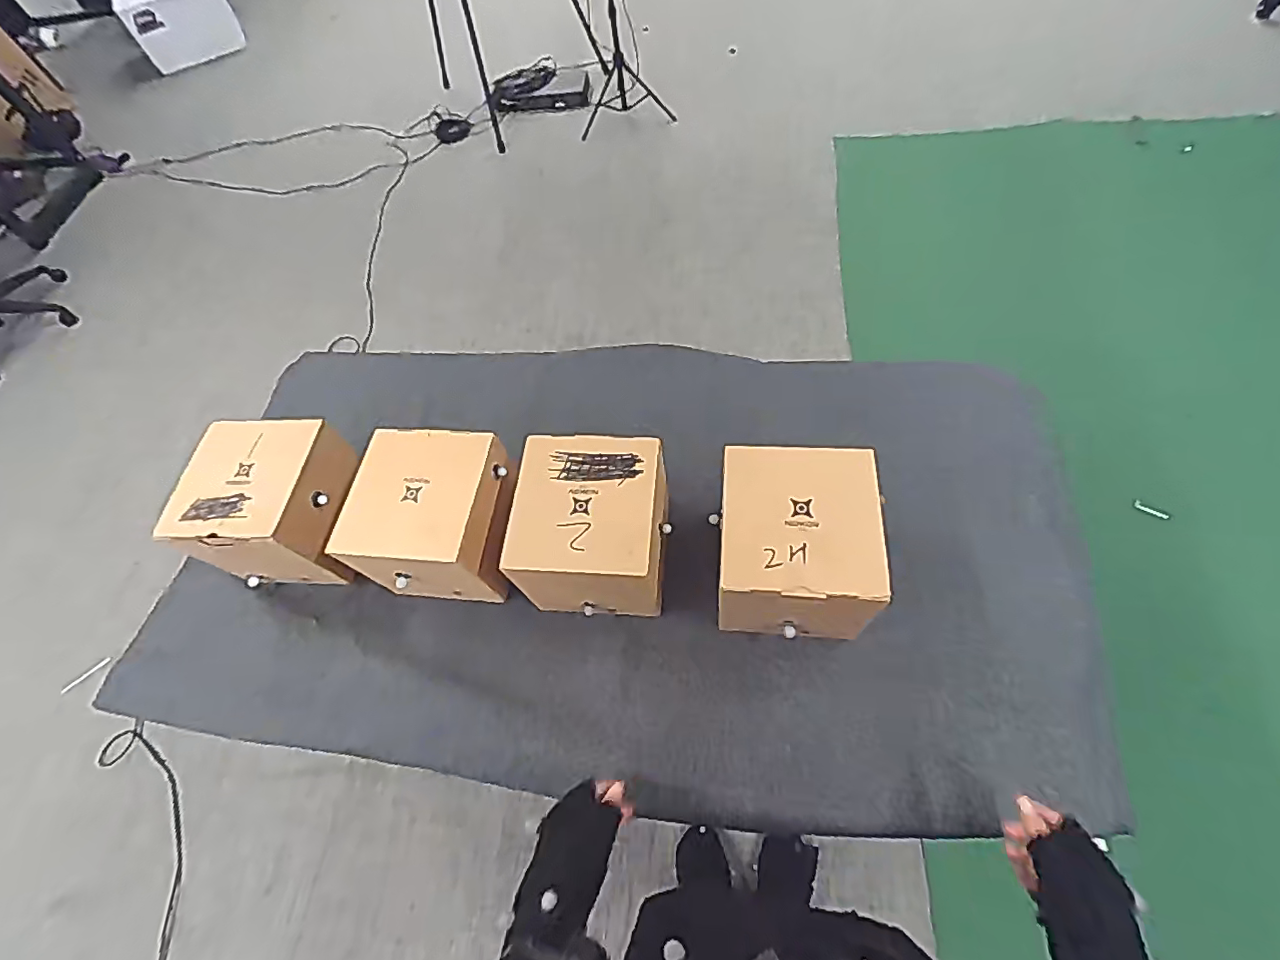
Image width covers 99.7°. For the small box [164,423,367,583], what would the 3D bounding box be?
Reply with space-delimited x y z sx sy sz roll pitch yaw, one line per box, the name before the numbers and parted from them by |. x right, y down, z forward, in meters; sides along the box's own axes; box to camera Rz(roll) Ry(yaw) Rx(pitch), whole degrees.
small box | -0.491 0.039 0.763 0.168 0.176 0.179 0 60 7

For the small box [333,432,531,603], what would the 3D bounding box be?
small box | -0.259 0.055 0.724 0.168 0.176 0.179 3 60 9
